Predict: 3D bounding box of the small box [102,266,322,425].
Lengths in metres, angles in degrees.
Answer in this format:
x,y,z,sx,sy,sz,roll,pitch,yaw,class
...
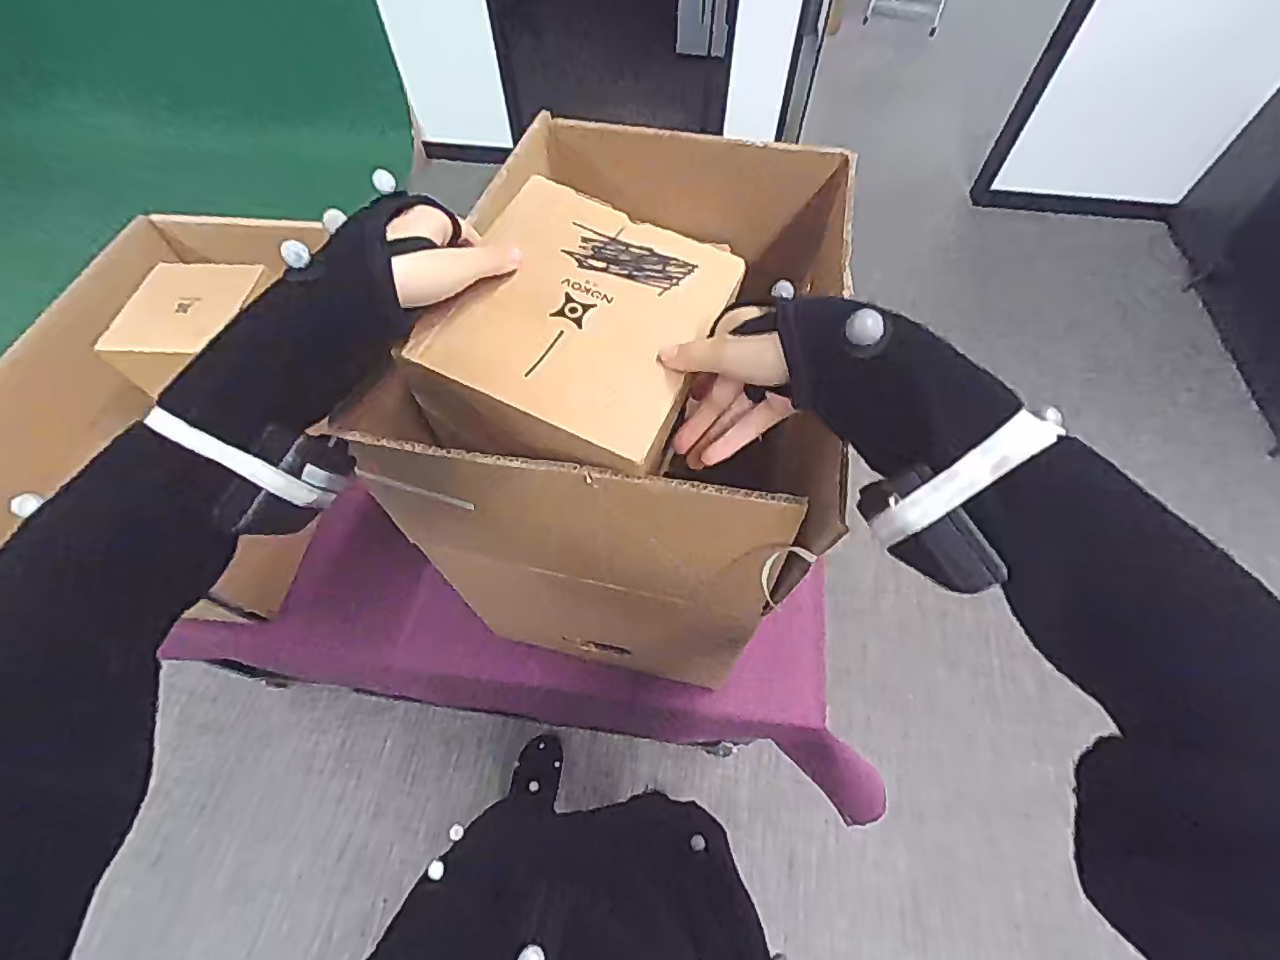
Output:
x,y,z,sx,sy,sz,roll,pitch,yaw,class
-0.622,-0.198,0.818,0.168,0.176,0.179,2,59,3,small box
